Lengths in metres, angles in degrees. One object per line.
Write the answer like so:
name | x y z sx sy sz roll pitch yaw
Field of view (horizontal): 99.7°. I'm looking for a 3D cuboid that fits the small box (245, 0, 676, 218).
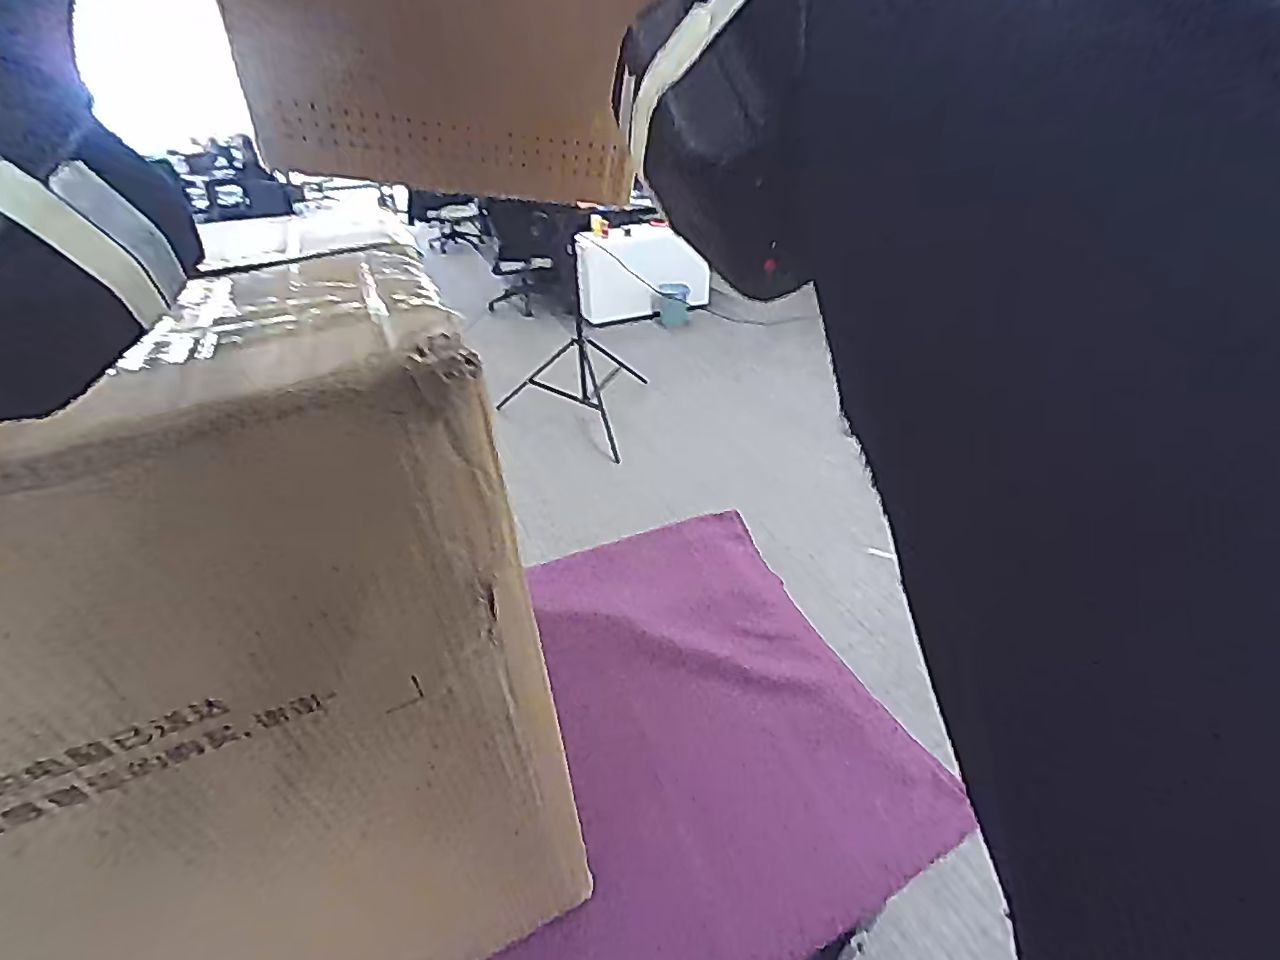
small box | -0.082 -0.253 0.270 0.179 0.176 0.168 -2 51 -15
